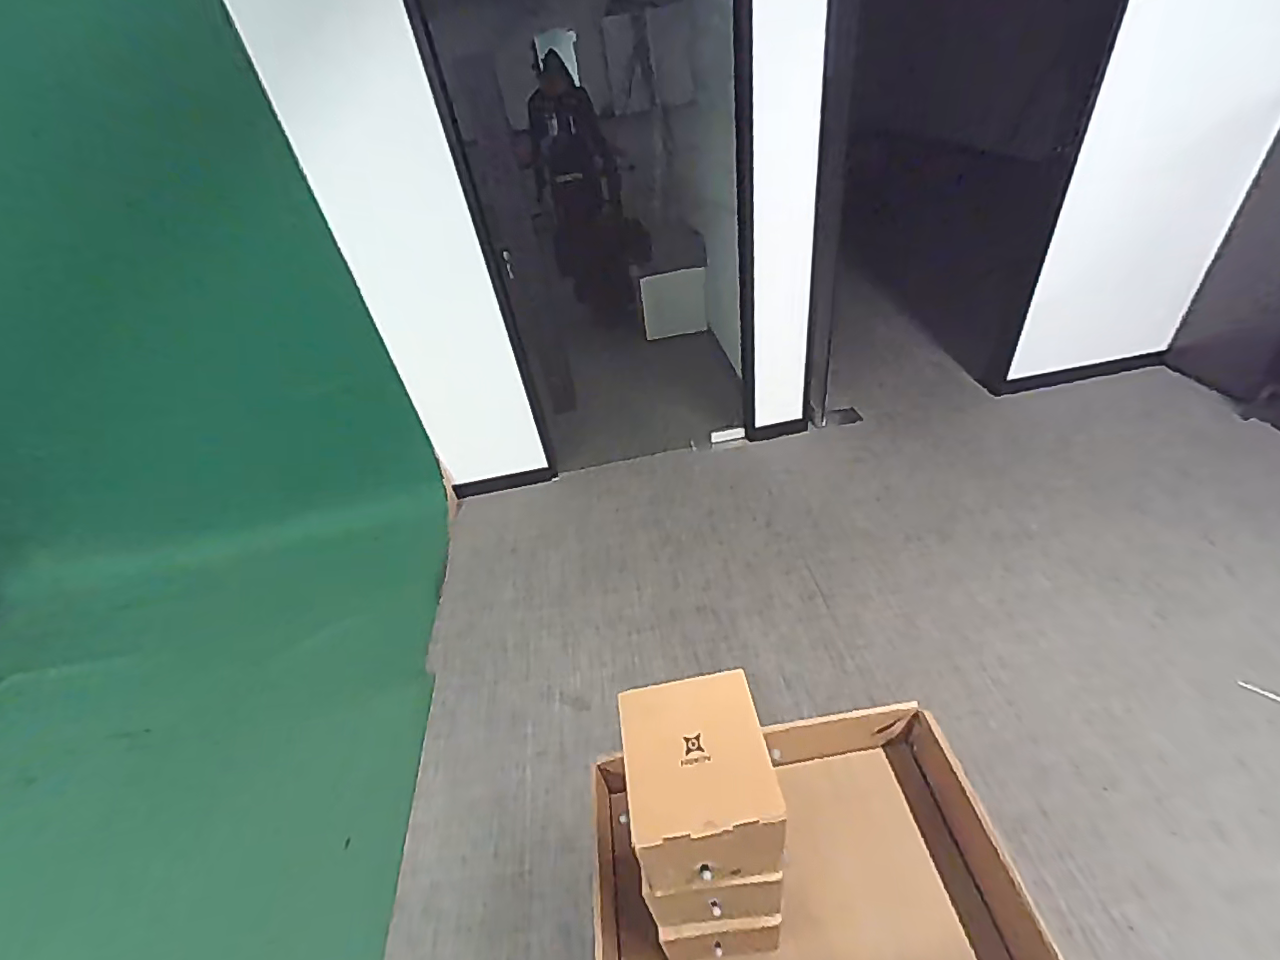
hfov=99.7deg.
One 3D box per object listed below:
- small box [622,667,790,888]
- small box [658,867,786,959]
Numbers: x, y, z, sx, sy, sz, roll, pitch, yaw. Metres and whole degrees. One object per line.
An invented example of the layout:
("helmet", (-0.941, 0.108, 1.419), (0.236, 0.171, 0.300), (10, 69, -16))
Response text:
("small box", (0.076, 0.366, 0.671), (0.168, 0.176, 0.179), (-11, 39, 0))
("small box", (0.121, 0.632, 0.857), (0.179, 0.176, 0.168), (-9, 38, 2))
